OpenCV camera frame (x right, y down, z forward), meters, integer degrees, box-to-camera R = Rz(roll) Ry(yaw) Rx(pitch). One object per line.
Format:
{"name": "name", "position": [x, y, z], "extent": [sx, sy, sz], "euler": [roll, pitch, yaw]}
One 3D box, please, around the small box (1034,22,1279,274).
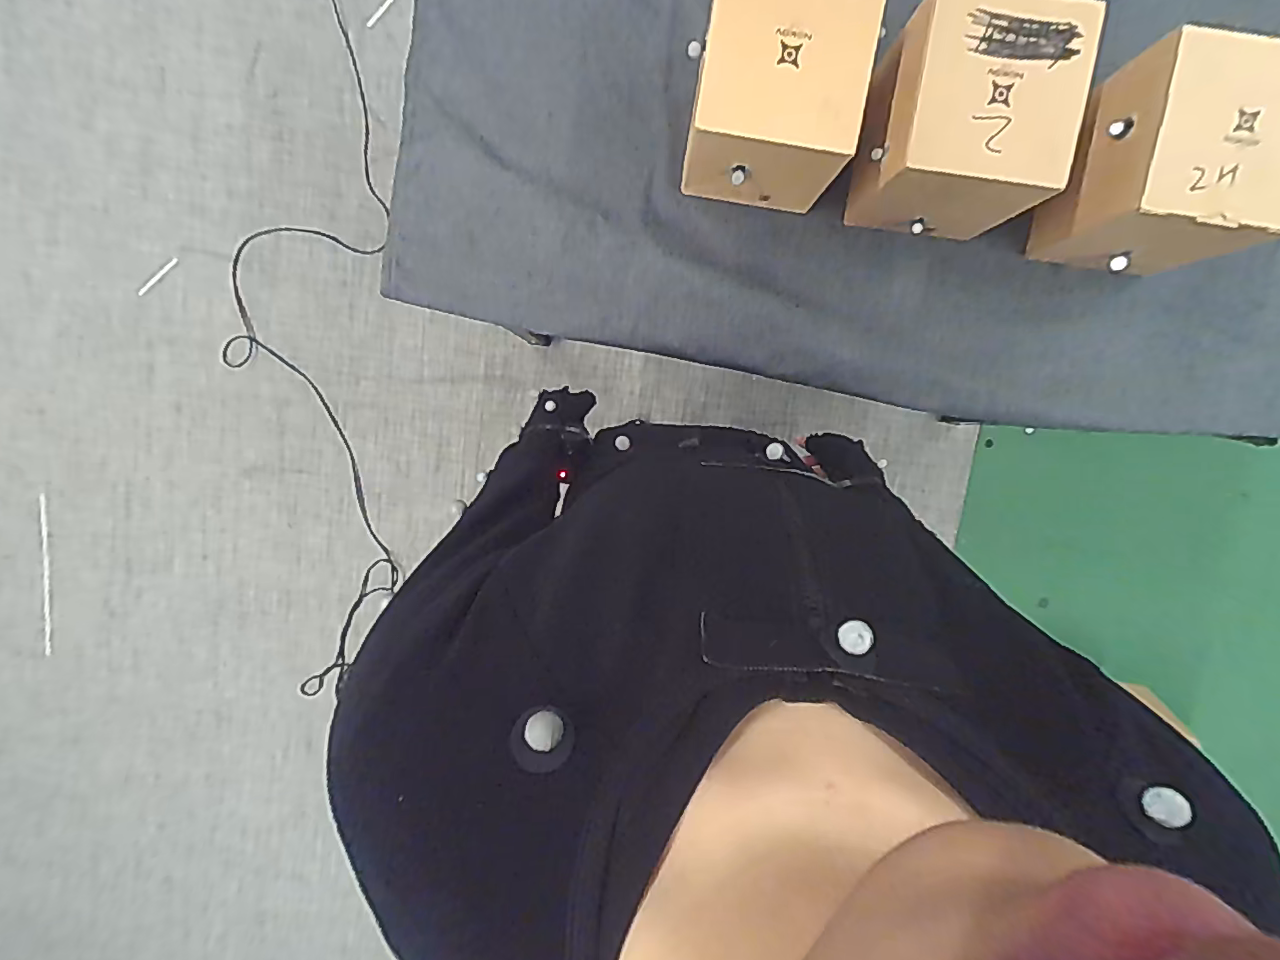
{"name": "small box", "position": [0.592, -0.354, 0.610], "extent": [0.168, 0.176, 0.179], "euler": [9, 96, 0]}
